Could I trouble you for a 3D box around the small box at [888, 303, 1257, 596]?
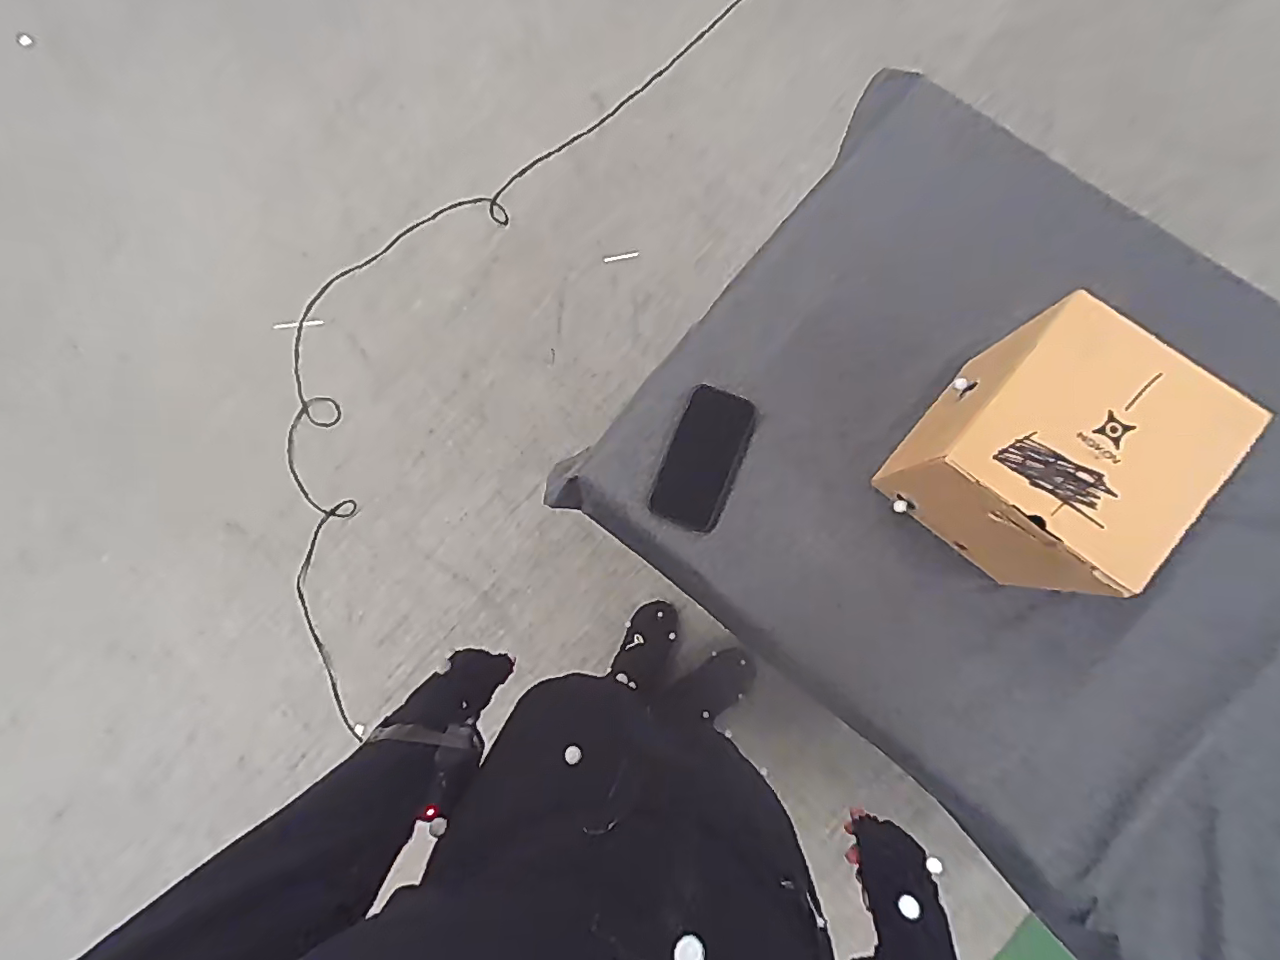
[{"bbox_3d":[0.360,-0.016,0.496,0.168,0.176,0.179,40,86,8],"label":"small box"}]
